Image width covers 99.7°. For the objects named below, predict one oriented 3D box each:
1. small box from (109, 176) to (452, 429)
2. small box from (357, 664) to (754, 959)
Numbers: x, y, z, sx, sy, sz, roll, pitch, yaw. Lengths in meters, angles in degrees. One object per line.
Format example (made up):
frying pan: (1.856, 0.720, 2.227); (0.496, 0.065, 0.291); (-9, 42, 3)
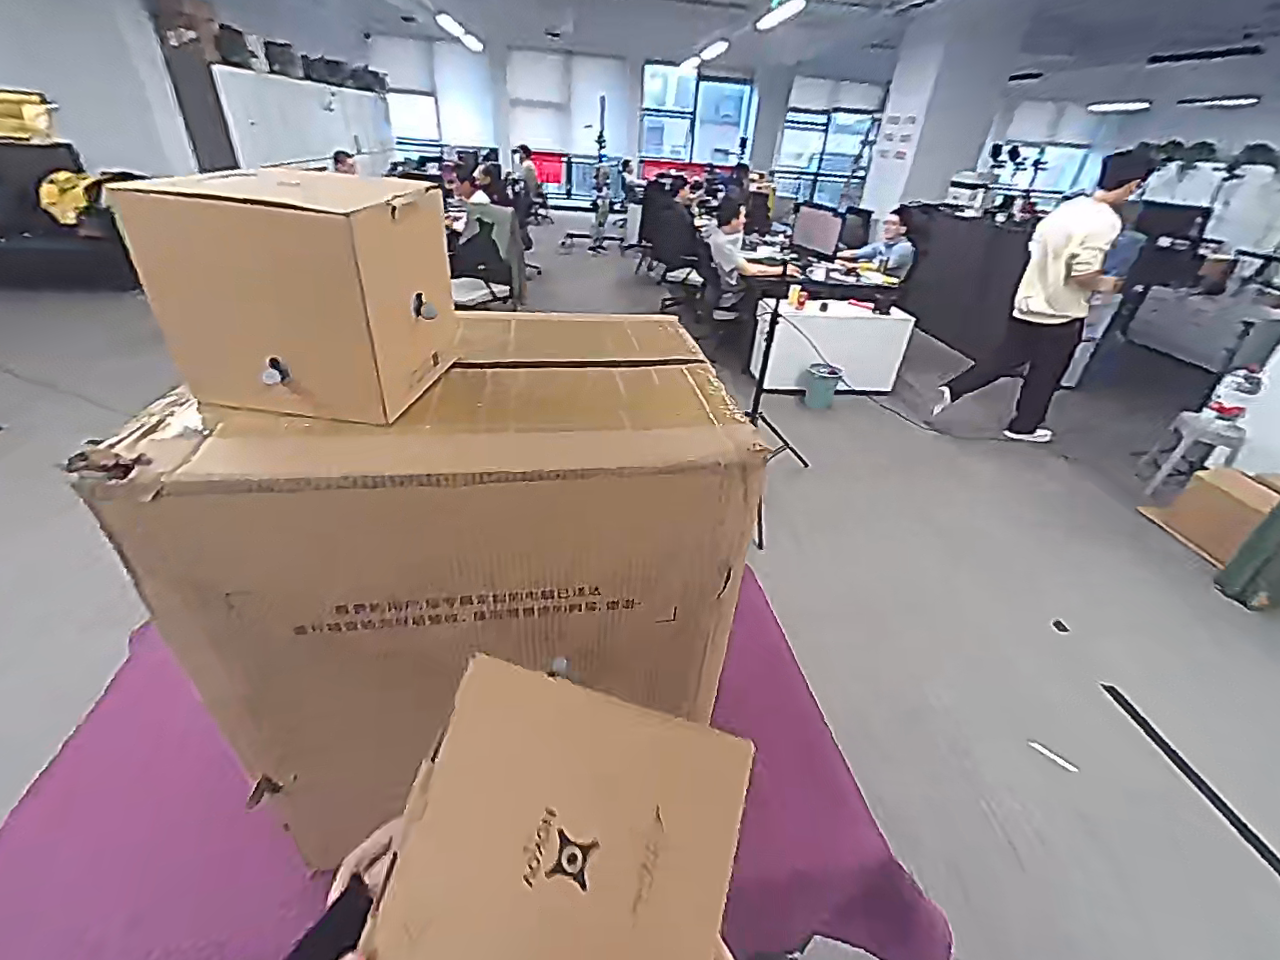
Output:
small box: (-0.284, -0.160, 0.483); (0.179, 0.176, 0.168); (7, 34, 2)
small box: (-0.042, 0.236, 0.363); (0.179, 0.176, 0.168); (16, 69, 4)
